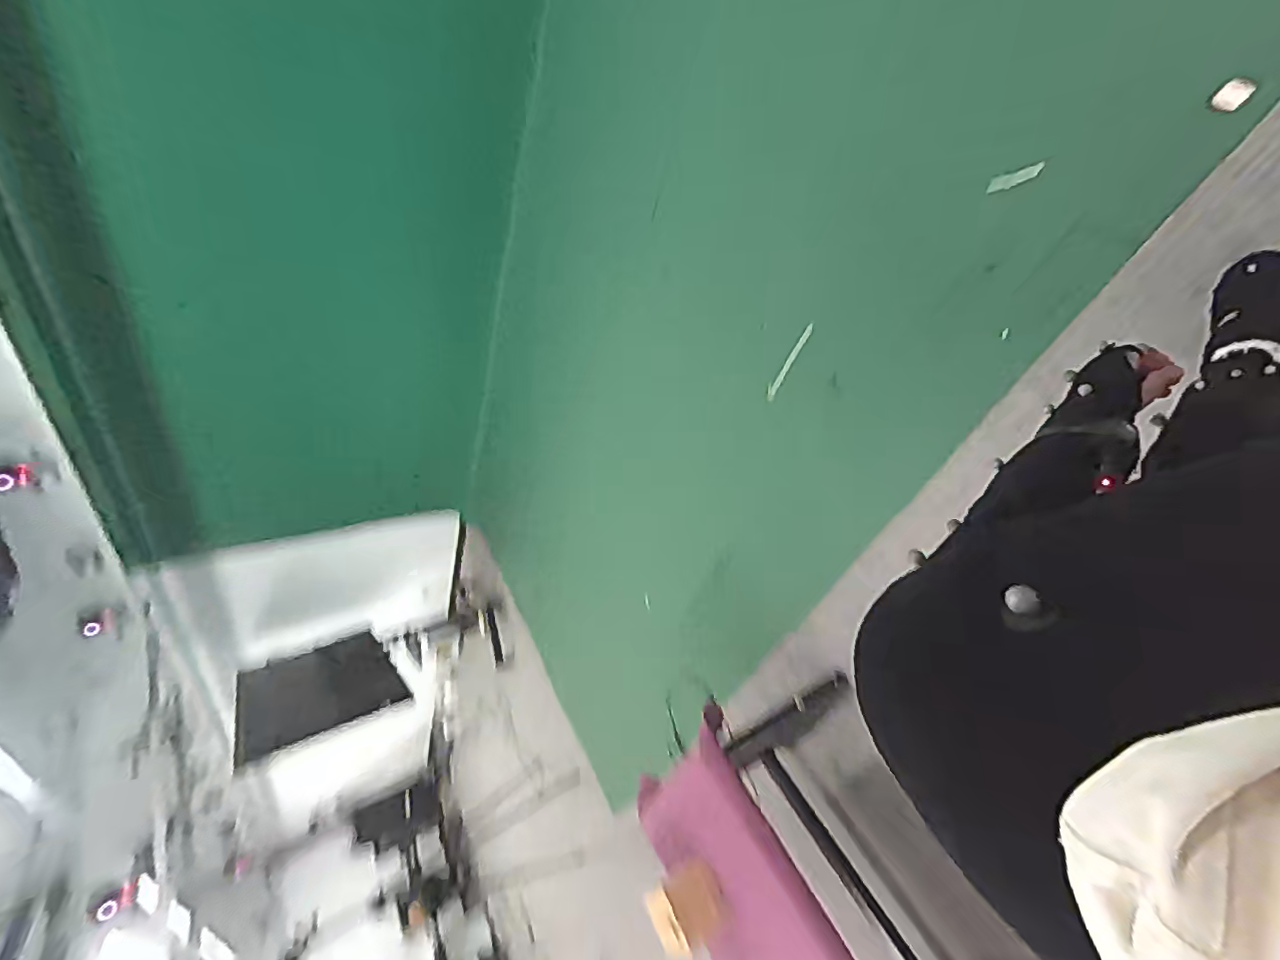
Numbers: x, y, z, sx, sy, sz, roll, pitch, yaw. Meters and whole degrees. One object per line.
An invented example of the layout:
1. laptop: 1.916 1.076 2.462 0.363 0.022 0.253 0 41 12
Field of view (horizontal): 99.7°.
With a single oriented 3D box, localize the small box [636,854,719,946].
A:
1. small box: 0.121 1.298 1.677 0.168 0.176 0.179 58 140 27
